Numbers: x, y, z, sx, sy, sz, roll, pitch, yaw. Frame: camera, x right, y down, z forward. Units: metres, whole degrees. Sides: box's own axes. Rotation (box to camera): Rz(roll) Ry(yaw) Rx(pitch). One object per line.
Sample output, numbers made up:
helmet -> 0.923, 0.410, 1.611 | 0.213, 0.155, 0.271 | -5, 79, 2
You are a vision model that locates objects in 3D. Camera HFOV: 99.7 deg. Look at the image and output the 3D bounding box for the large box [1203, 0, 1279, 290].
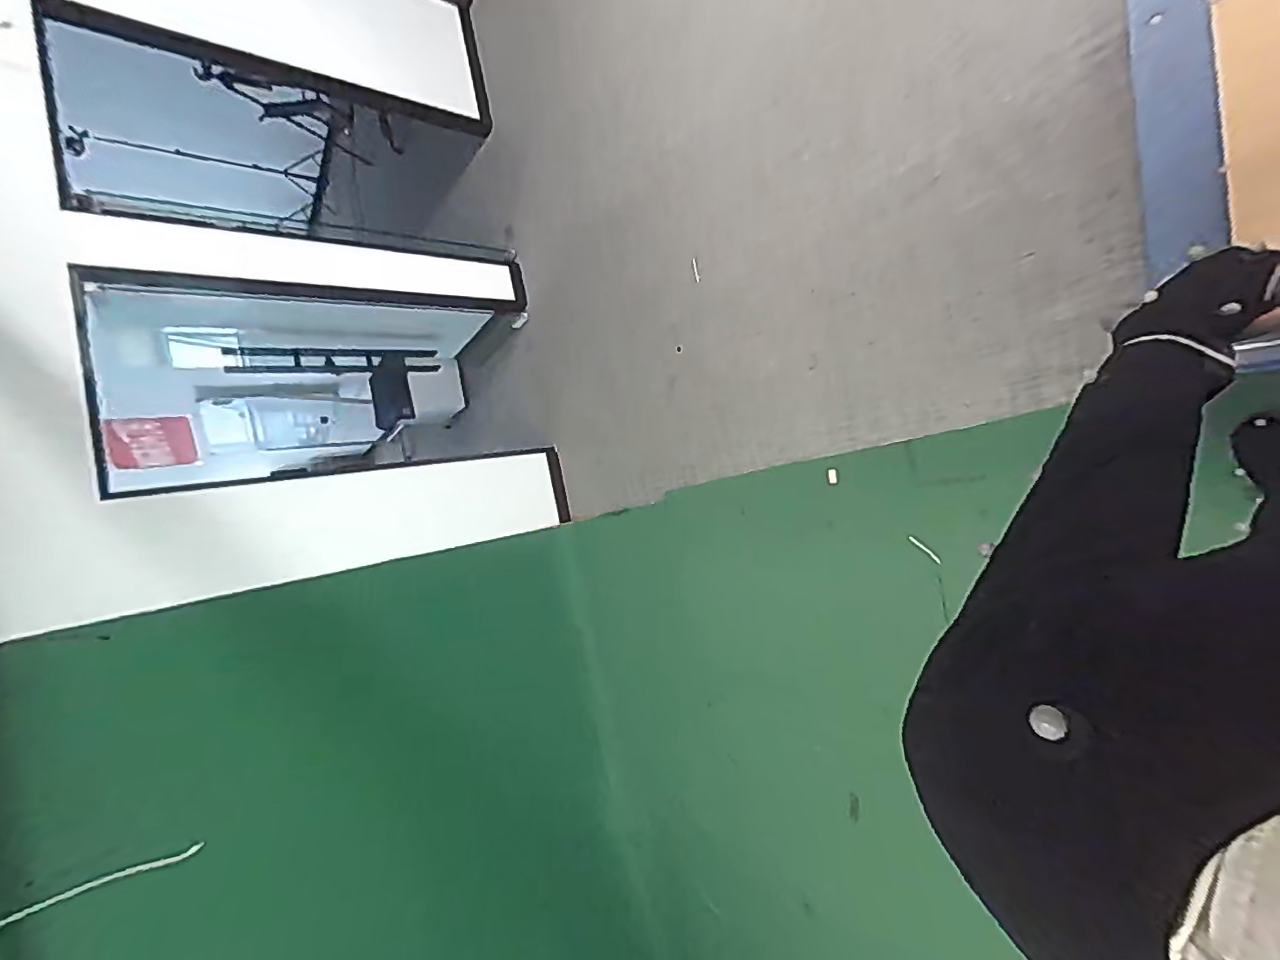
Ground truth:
large box -> 1.067, -0.529, 0.767 | 0.320, 0.320, 0.408 | -6, 92, 52
